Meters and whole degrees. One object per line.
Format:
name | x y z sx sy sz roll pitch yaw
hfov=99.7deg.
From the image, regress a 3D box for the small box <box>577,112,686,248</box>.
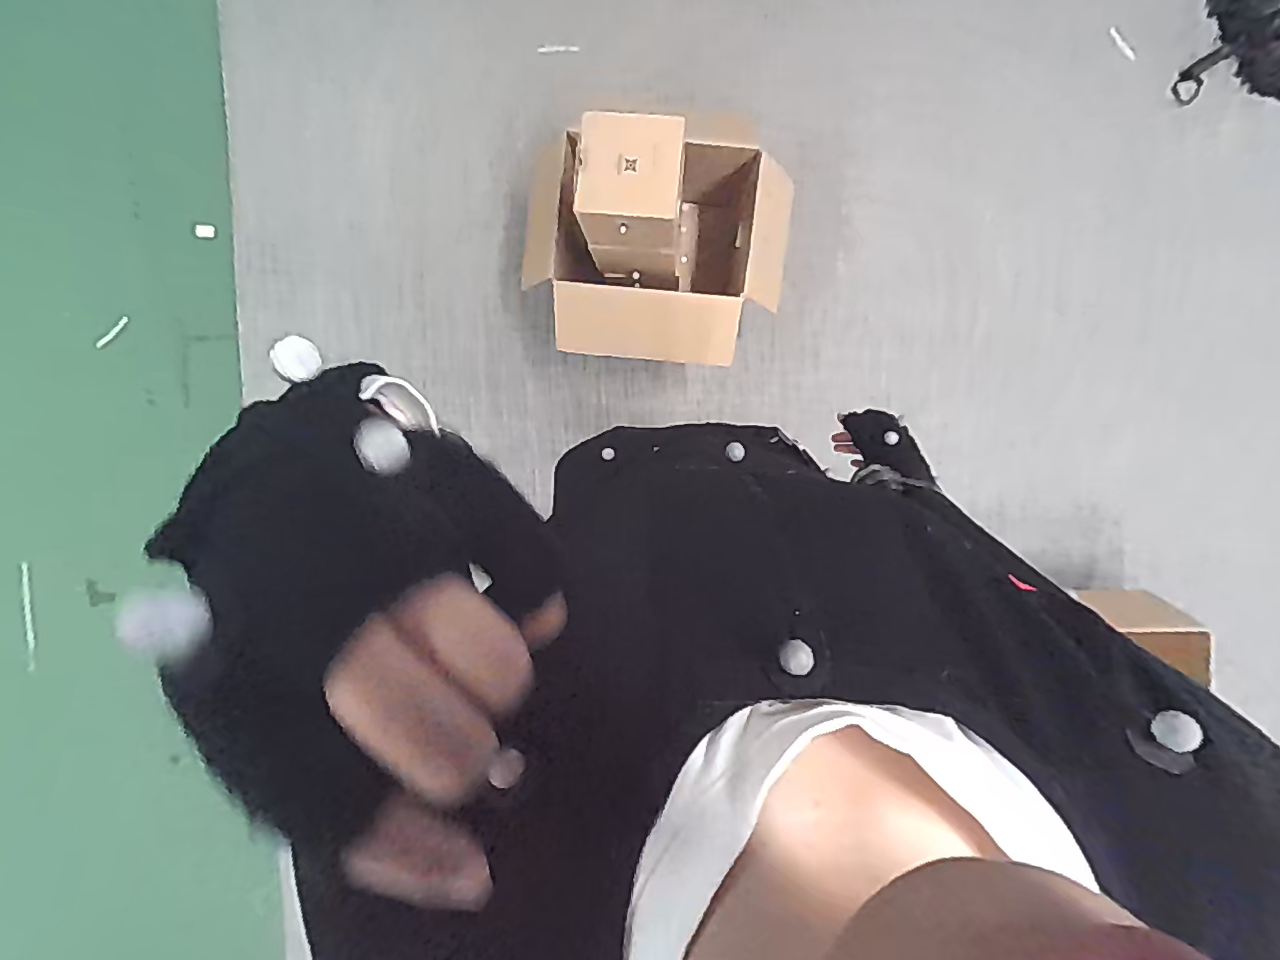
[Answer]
small box | -0.011 -0.538 0.992 0.179 0.176 0.168 5 96 3
